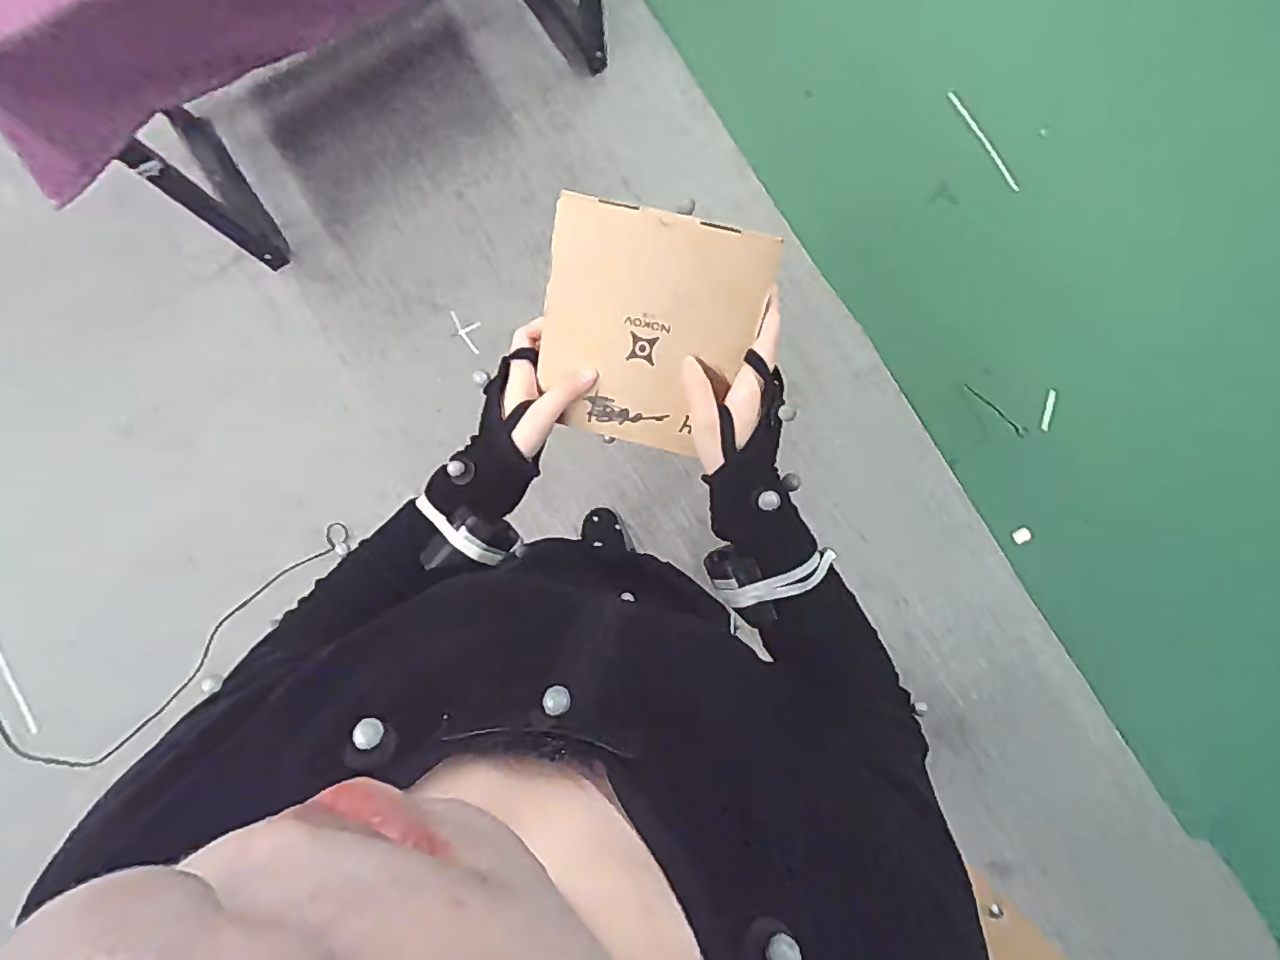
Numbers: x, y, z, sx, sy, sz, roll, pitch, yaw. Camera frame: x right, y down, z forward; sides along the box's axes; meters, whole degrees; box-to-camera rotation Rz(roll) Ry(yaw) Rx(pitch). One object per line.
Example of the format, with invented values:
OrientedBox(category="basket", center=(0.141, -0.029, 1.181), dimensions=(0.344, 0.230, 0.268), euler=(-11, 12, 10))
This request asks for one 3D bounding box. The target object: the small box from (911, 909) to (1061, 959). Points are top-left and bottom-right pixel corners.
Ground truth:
OrientedBox(category="small box", center=(0.511, 0.745, 0.748), dimensions=(0.168, 0.176, 0.179), euler=(-18, 87, -2))

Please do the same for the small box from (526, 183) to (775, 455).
OrientedBox(category="small box", center=(0.012, -0.147, 0.490), dimensions=(0.168, 0.176, 0.179), euler=(15, 115, 5))
